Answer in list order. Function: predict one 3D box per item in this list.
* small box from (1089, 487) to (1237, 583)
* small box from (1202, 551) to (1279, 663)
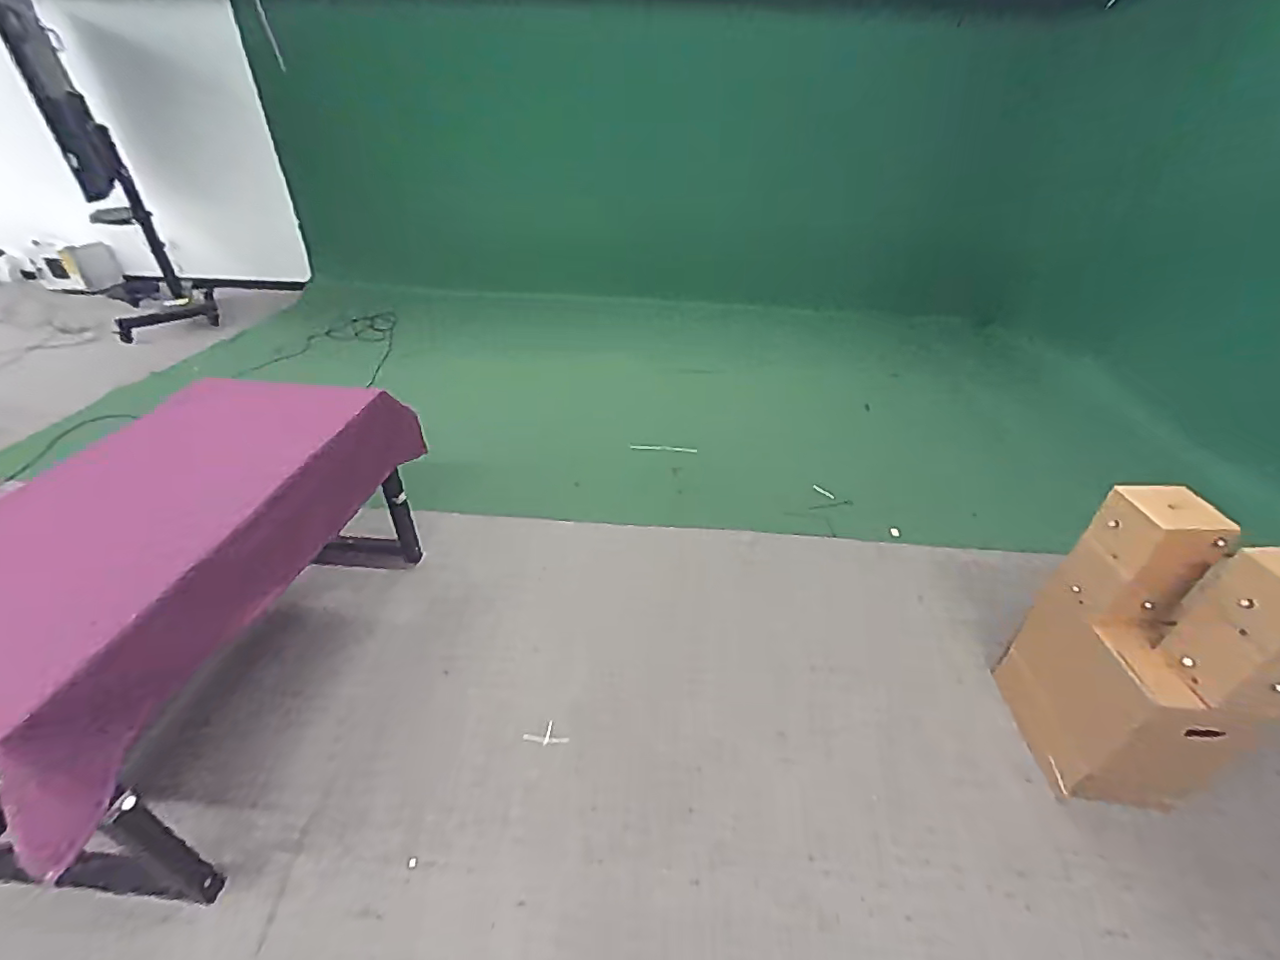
[{"bbox_3d":[1.242,0.133,1.309,0.179,0.176,0.168,0,37,1],"label":"small box"},{"bbox_3d":[1.349,0.266,1.126,0.179,0.176,0.168,1,35,-3],"label":"small box"}]
